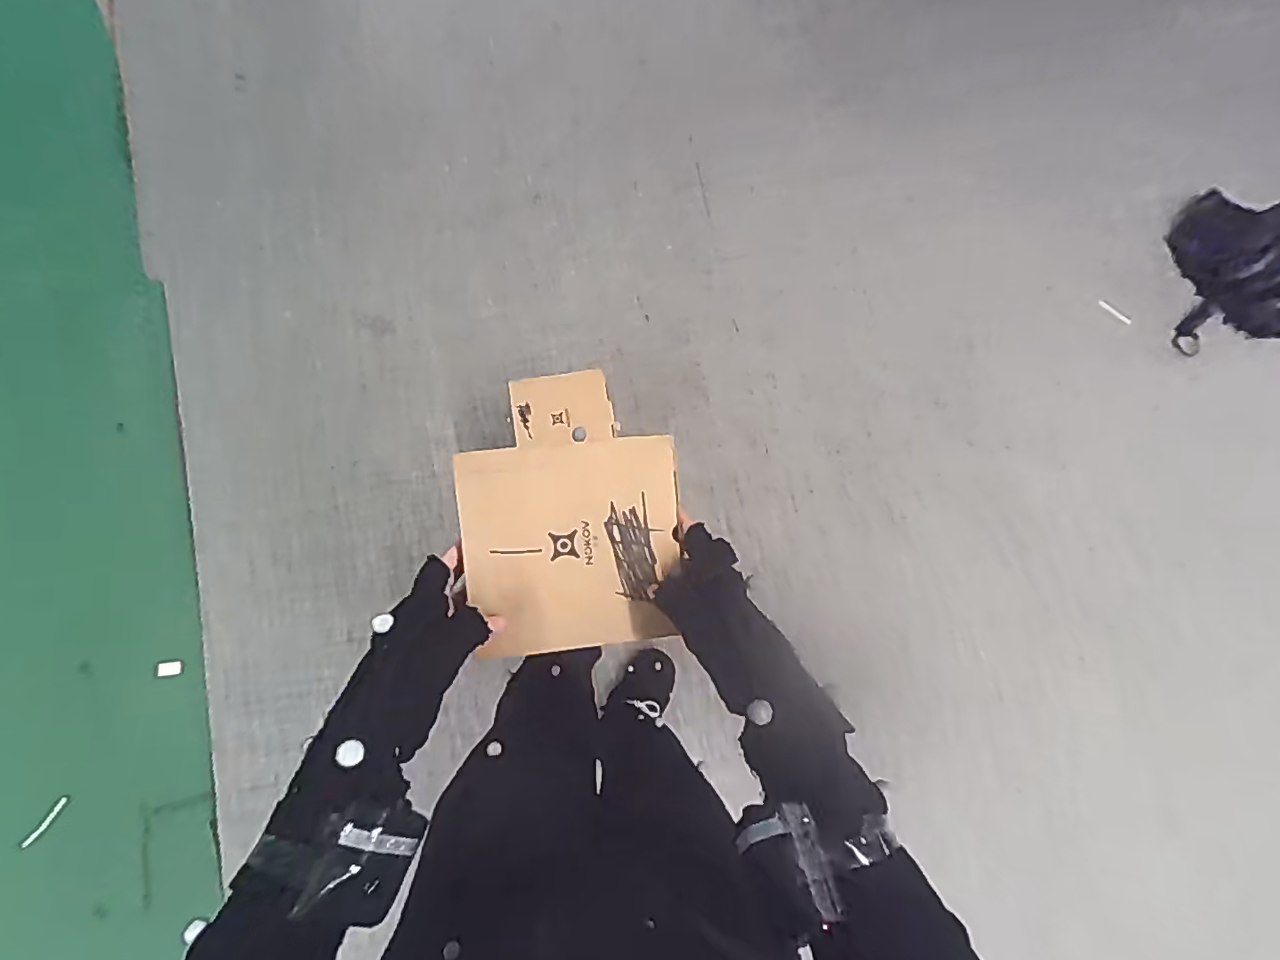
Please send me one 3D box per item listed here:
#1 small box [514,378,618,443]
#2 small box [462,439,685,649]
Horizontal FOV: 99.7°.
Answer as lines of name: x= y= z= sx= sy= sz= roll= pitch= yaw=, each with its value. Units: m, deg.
small box: x=-0.134 y=-0.085 z=1.044 sx=0.179 sy=0.176 sz=0.168 roll=-8 pitch=82 yaw=-3
small box: x=-0.062 y=0.049 z=0.517 sx=0.179 sy=0.176 sz=0.168 roll=-3 pitch=90 yaw=-6
